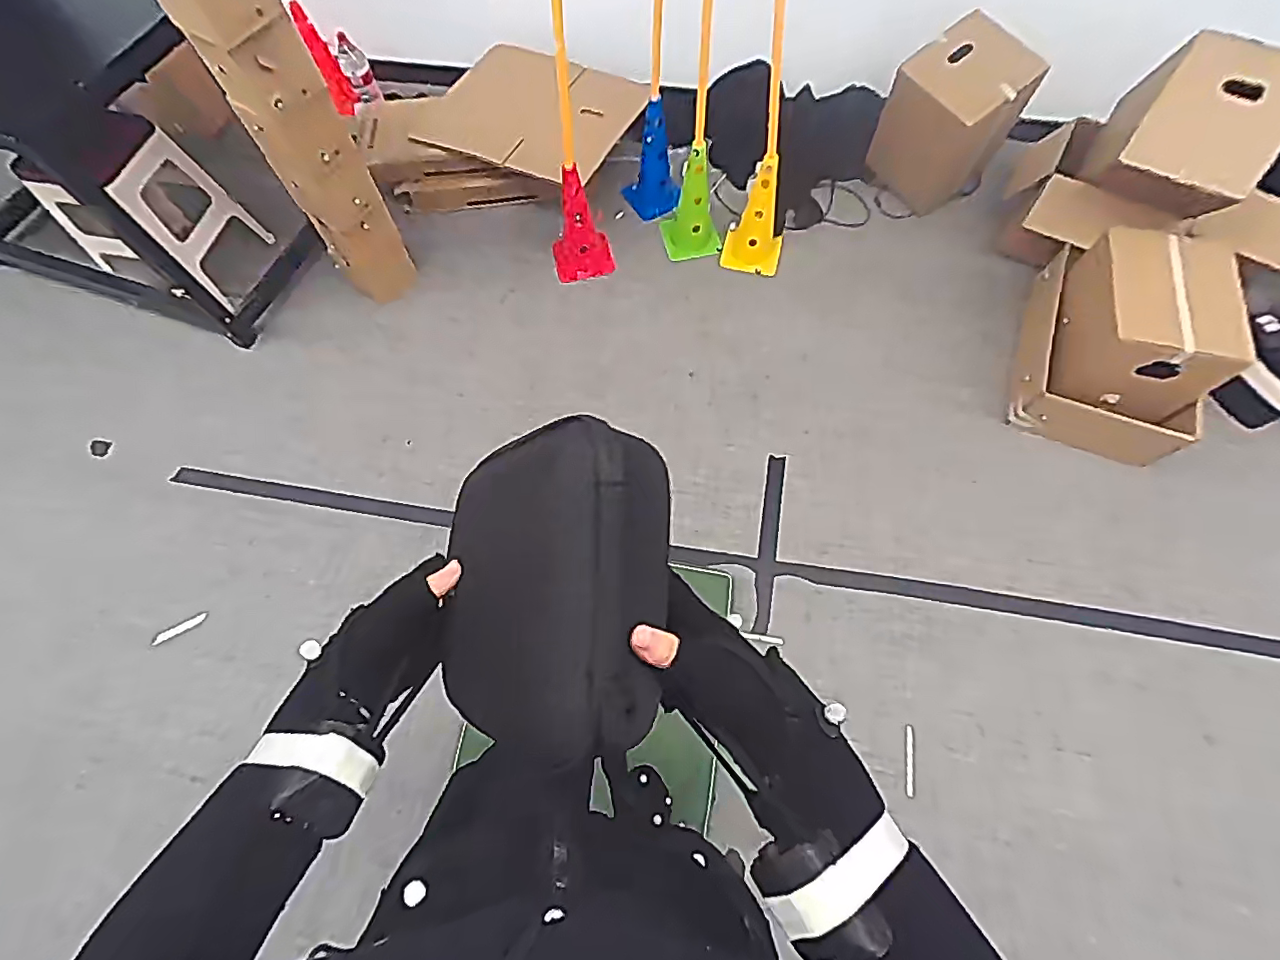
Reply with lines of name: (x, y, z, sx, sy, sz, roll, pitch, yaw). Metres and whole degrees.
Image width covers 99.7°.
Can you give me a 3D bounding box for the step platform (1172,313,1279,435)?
step platform: (2.052, -0.378, 1.644, 0.684, 0.204, 0.286, -18, 67, -7)
